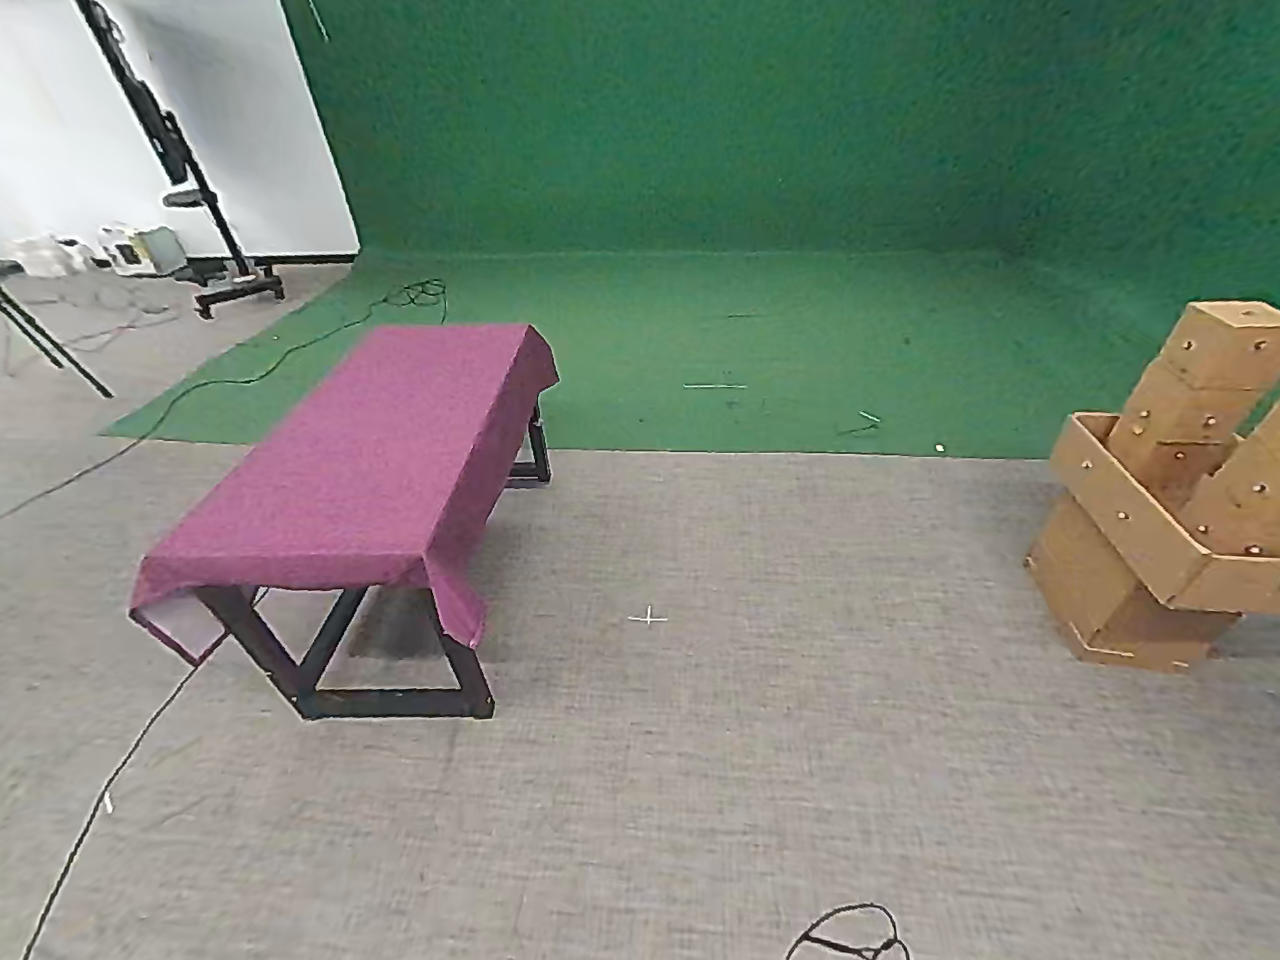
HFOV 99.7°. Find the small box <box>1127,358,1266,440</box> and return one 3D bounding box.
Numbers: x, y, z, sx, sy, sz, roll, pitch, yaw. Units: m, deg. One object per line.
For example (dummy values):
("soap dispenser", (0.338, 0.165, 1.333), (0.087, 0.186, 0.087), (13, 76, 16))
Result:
("small box", (1.509, -0.221, 1.481), (0.168, 0.176, 0.179), (1, 39, 5))

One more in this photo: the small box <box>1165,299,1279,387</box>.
("small box", (1.504, -0.348, 1.376), (0.179, 0.176, 0.168), (2, 39, 7))

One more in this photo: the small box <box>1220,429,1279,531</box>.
("small box", (1.461, 0.006, 1.196), (0.179, 0.176, 0.168), (6, 41, 11))

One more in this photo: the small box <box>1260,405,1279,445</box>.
("small box", (1.450, -0.118, 1.093), (0.168, 0.176, 0.179), (2, 41, 7))
